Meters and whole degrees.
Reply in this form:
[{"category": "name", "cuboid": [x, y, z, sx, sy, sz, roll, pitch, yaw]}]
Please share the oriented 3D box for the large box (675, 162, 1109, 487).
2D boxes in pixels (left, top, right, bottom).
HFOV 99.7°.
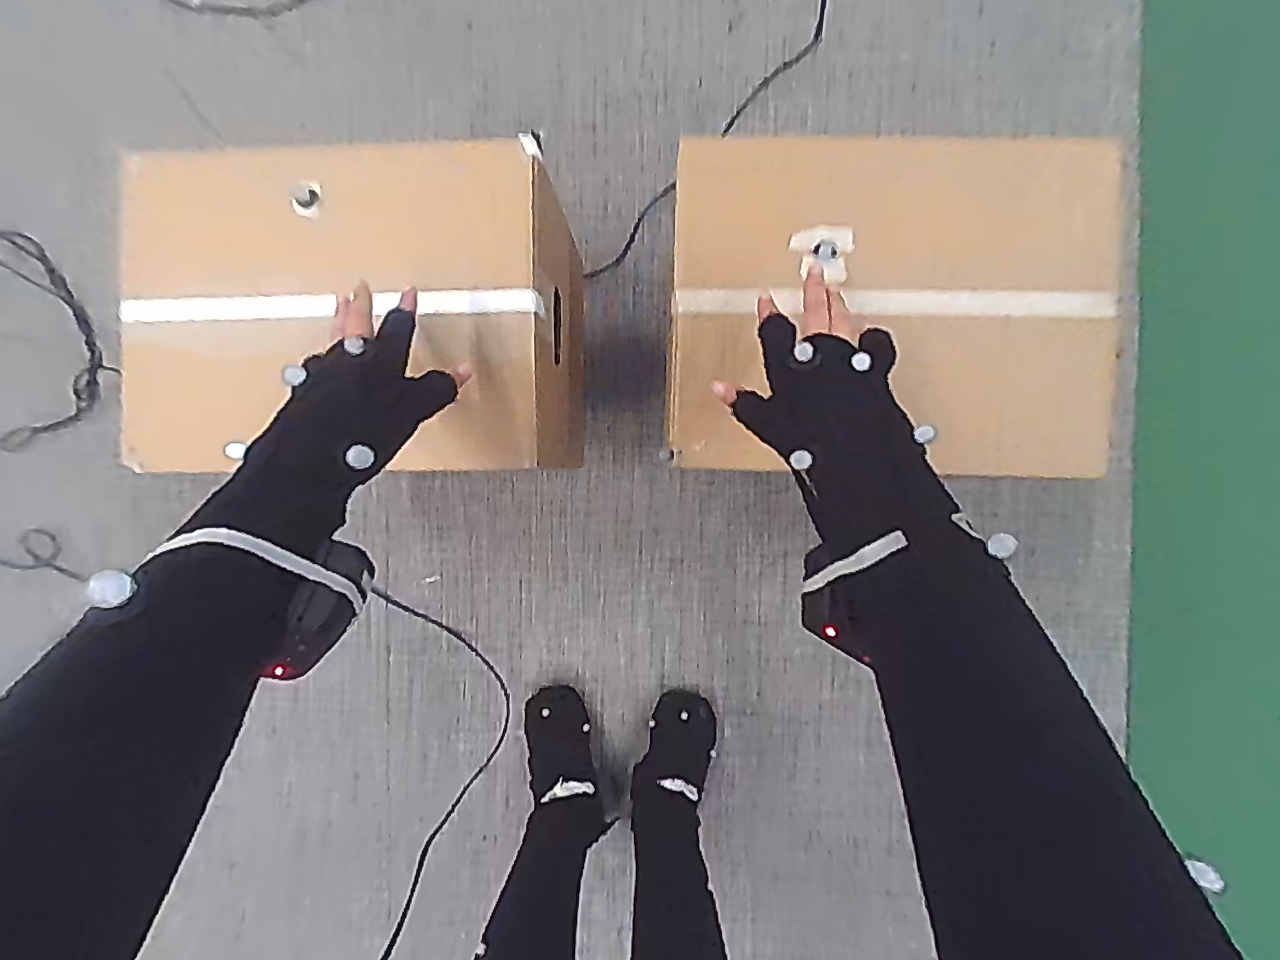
[{"category": "large box", "cuboid": [0.252, -0.159, 0.675, 0.408, 0.320, 0.320, 2, 91, 3]}]
